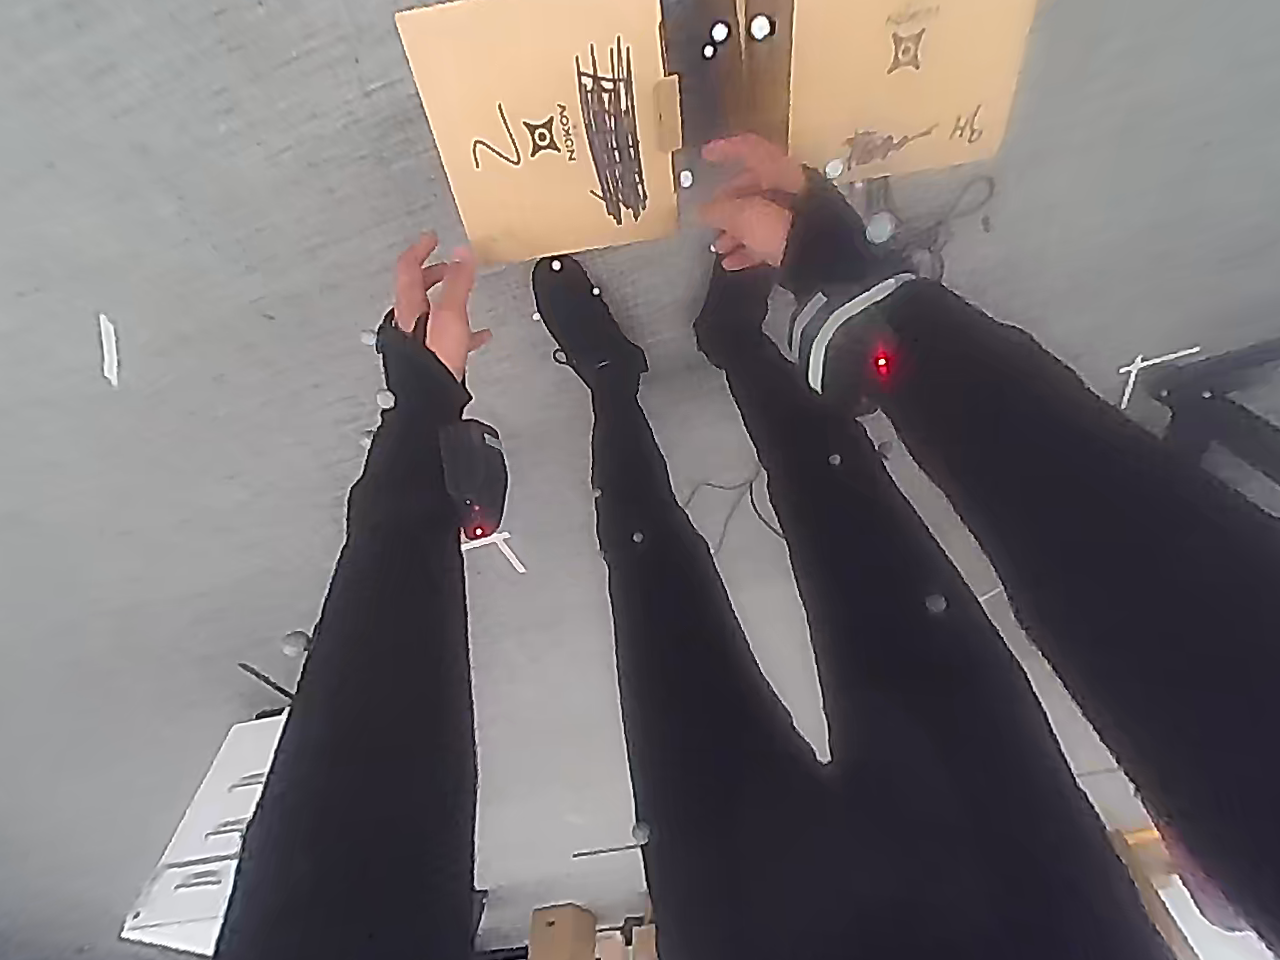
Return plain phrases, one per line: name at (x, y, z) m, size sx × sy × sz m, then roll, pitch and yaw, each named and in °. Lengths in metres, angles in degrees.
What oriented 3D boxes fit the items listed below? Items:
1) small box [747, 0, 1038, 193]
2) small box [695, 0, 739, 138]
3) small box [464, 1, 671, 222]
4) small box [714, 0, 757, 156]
small box at (0.182, -0.352, 0.433) m, size 0.168 × 0.176 × 0.179 m, roll -7°, pitch 129°, yaw 3°
small box at (0.170, -0.564, 0.681) m, size 0.168 × 0.176 × 0.179 m, roll -14°, pitch 130°, yaw 9°
small box at (-0.067, -0.402, 0.588) m, size 0.179 × 0.176 × 0.168 m, roll -7°, pitch 130°, yaw 4°
small box at (0.177, -0.460, 0.558) m, size 0.179 × 0.176 × 0.168 m, roll -13°, pitch 129°, yaw 8°
